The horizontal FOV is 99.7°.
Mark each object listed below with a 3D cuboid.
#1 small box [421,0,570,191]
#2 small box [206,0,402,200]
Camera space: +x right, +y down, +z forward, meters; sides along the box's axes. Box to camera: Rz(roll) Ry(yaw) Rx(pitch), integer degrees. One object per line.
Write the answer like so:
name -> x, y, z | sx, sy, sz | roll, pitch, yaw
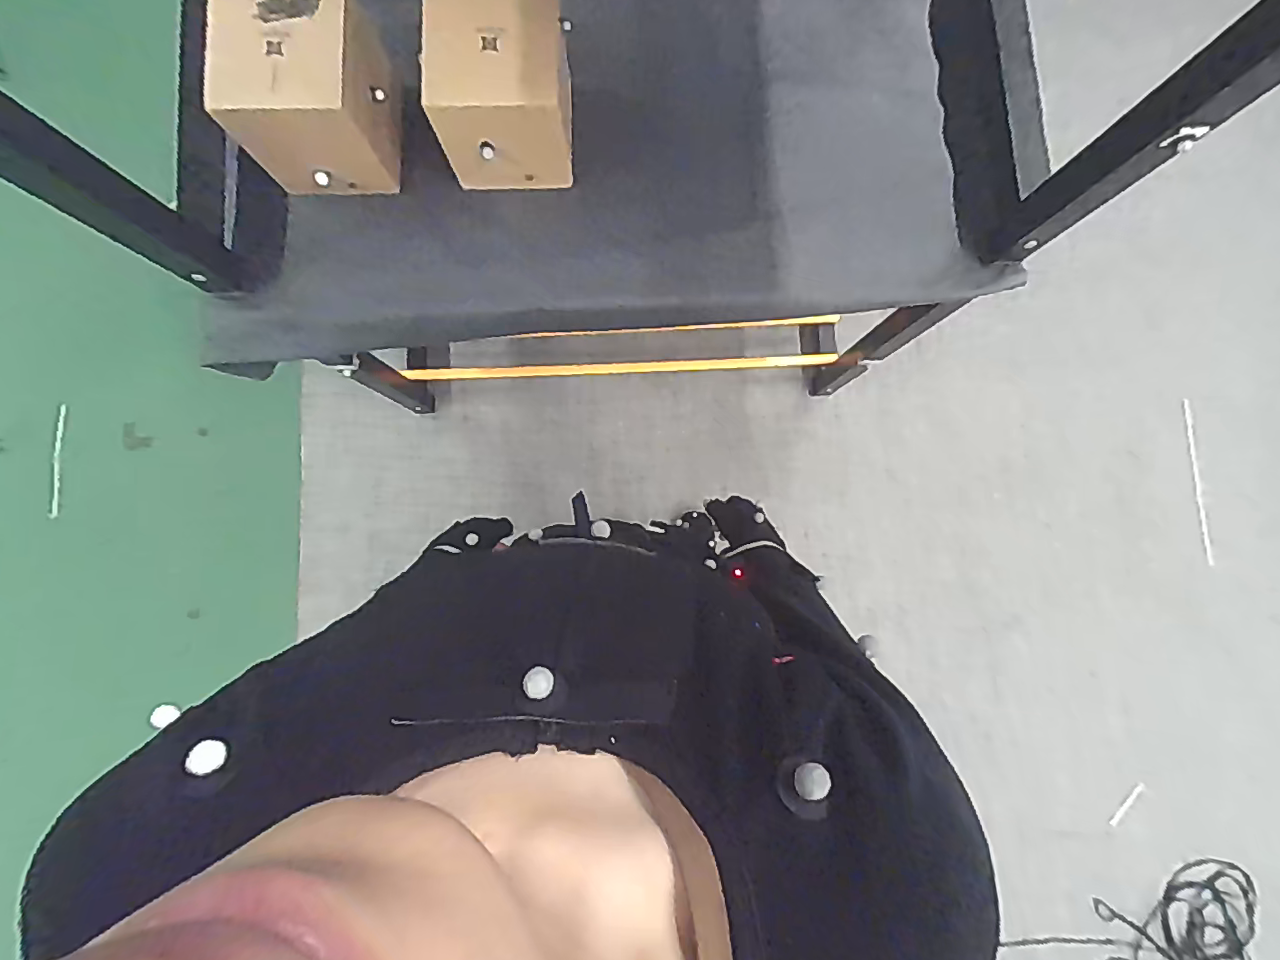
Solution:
small box -> -0.188, -0.524, 0.745 | 0.168, 0.176, 0.179 | -2, 84, -2
small box -> -0.441, -0.514, 0.736 | 0.168, 0.176, 0.179 | -2, 85, -1
